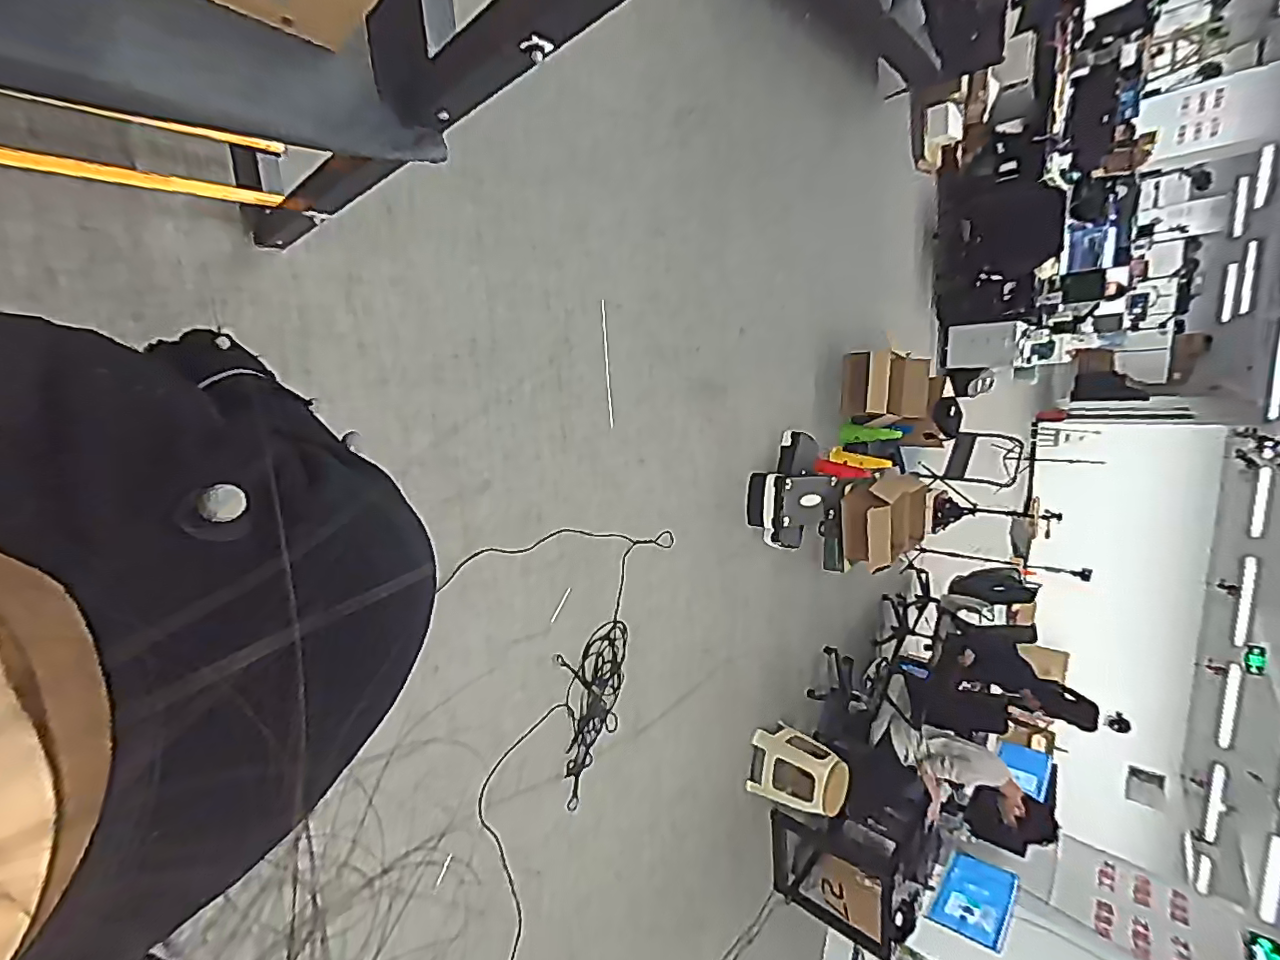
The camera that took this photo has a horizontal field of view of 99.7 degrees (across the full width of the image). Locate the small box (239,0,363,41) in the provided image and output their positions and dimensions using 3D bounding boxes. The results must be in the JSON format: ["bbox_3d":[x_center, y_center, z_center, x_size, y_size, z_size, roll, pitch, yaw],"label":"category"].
[{"bbox_3d":[-0.382,-0.615,0.561,0.168,0.176,0.179,-10,102,-47],"label":"small box"}]
